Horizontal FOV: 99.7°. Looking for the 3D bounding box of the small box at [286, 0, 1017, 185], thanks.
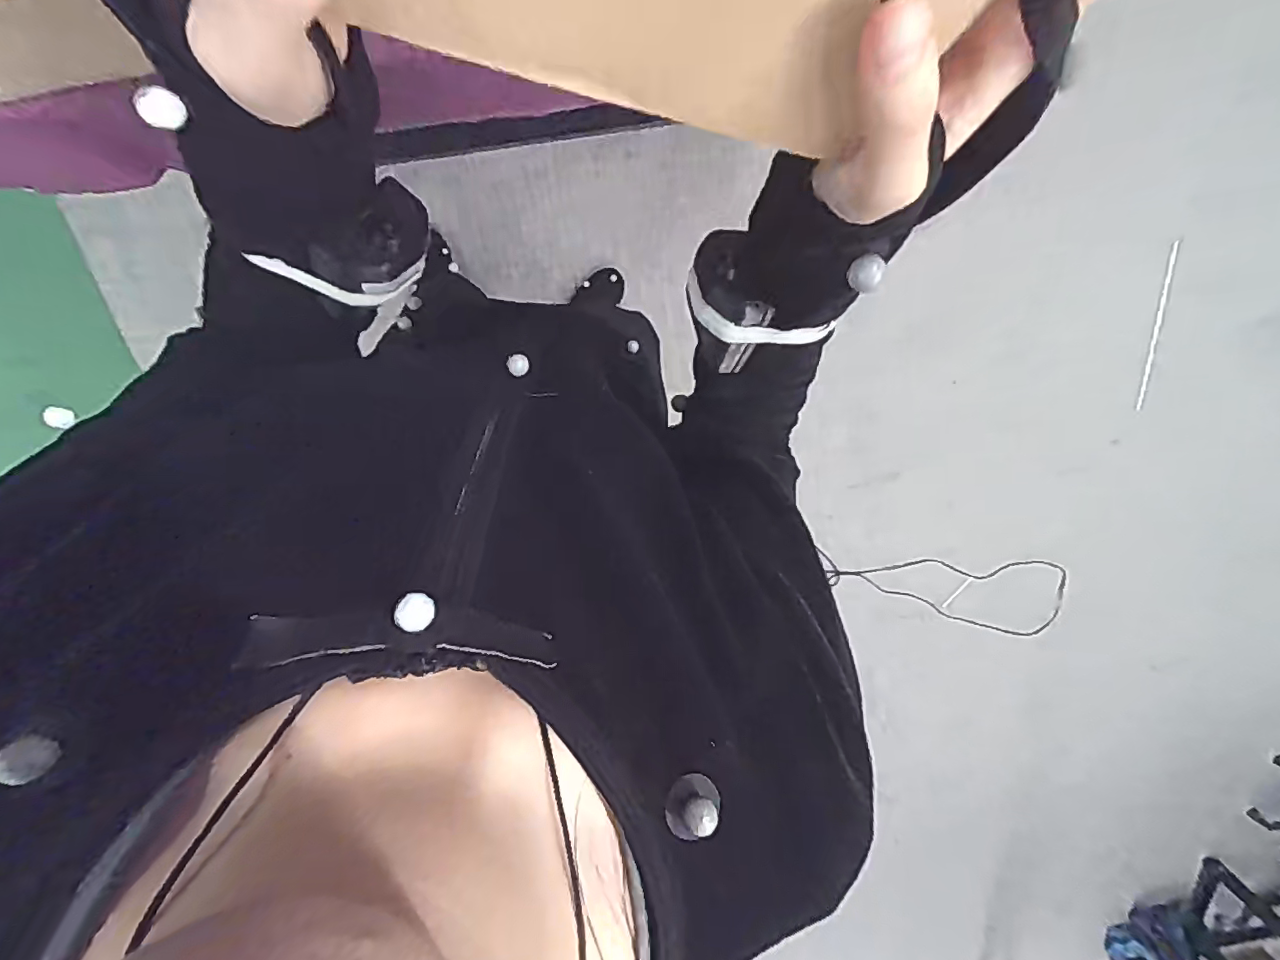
[{"bbox_3d":[0.017,-0.208,0.110,0.179,0.168,0.176,5,77,-18],"label":"small box"}]
